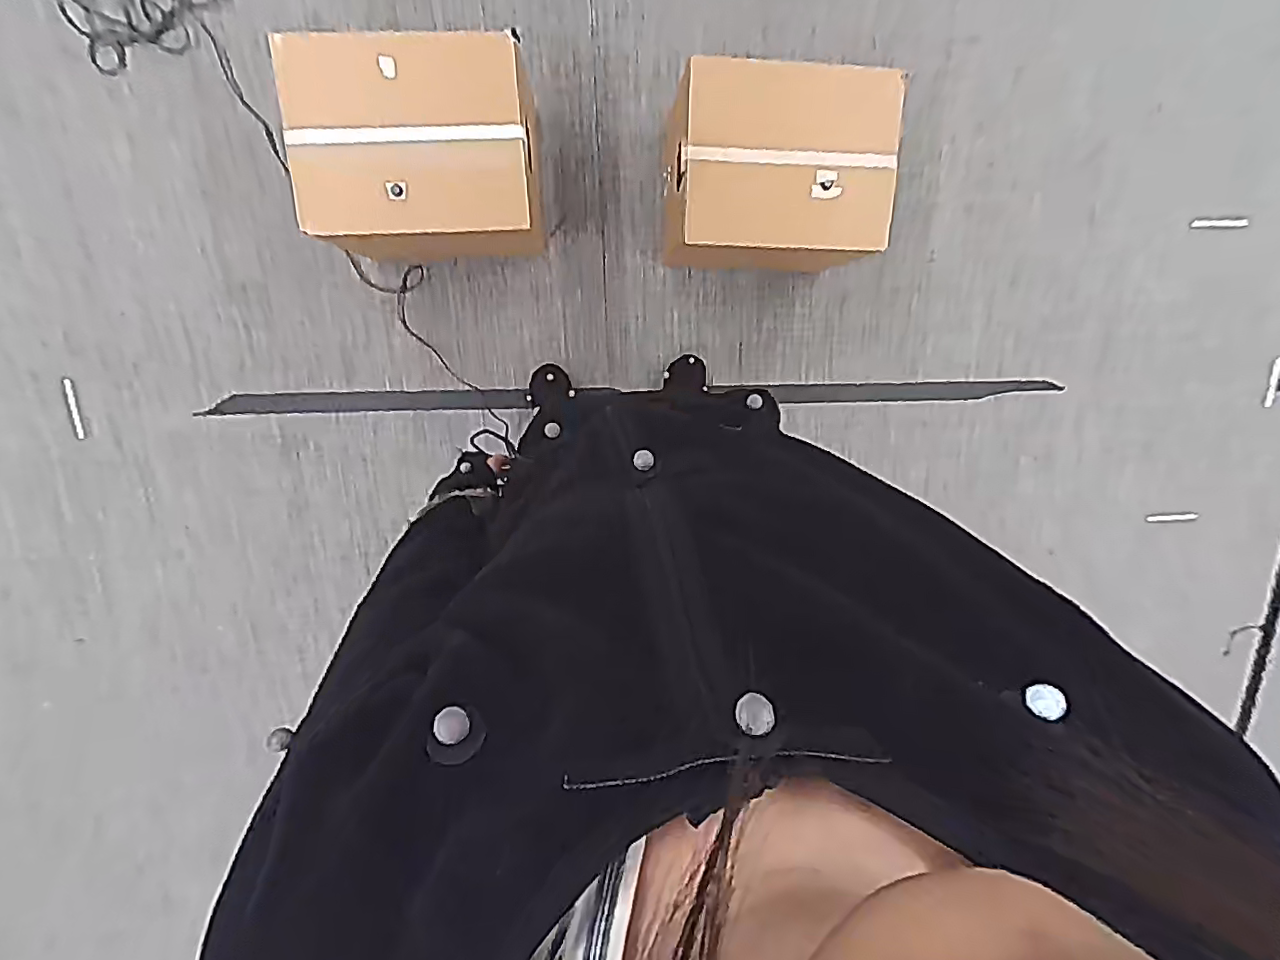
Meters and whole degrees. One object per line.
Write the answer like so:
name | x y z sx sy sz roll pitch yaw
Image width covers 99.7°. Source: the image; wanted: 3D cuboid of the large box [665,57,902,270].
large box | 0.272 -0.639 1.158 0.408 0.320 0.320 0 104 -6
